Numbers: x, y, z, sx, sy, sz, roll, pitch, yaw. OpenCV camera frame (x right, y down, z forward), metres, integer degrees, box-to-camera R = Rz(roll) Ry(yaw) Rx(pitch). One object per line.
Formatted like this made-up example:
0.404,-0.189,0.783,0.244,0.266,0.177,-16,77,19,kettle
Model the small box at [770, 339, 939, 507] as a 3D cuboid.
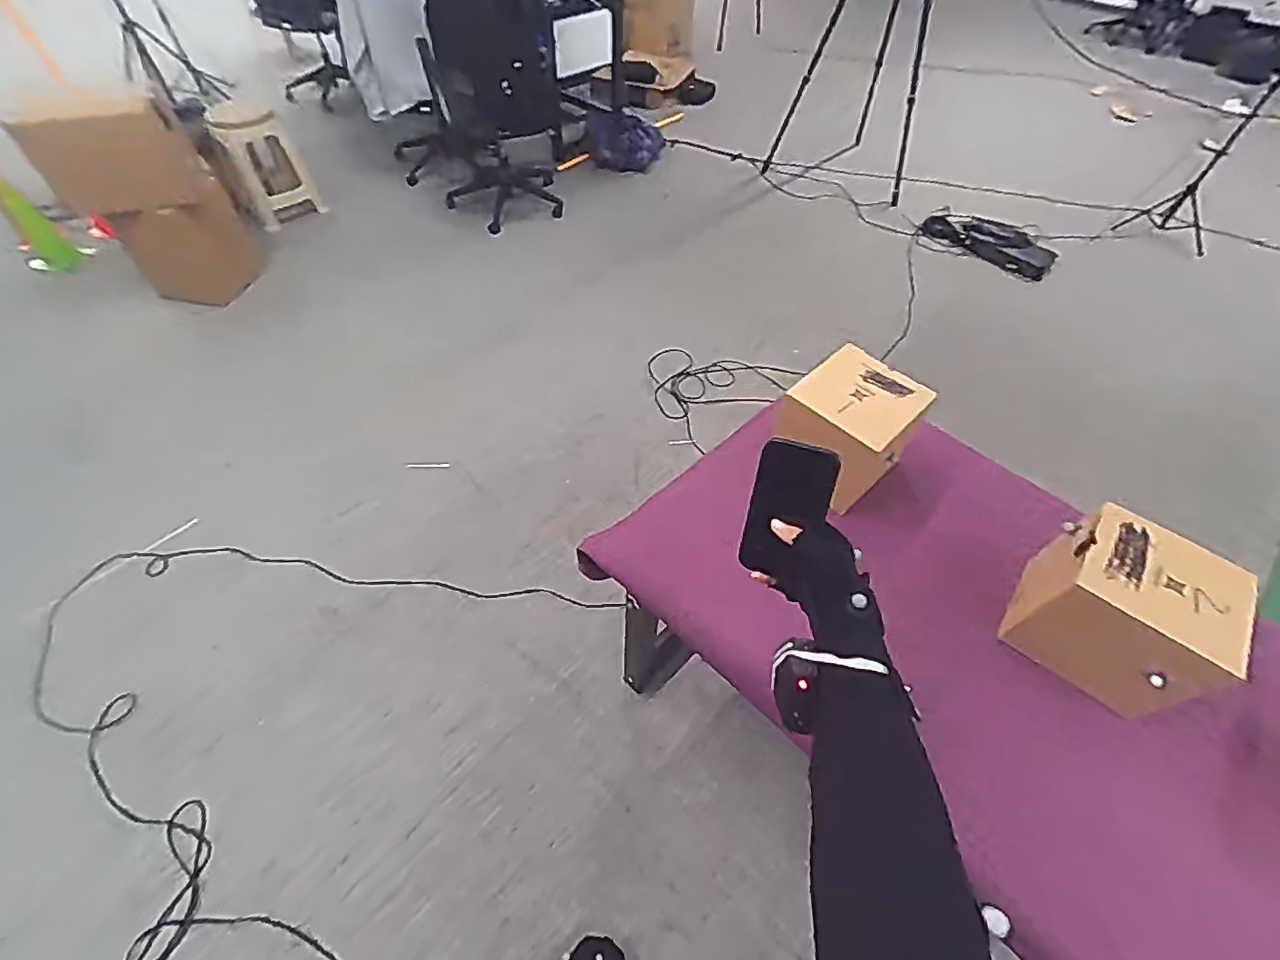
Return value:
0.338,-0.091,0.887,0.179,0.176,0.168,-37,63,-24,small box
